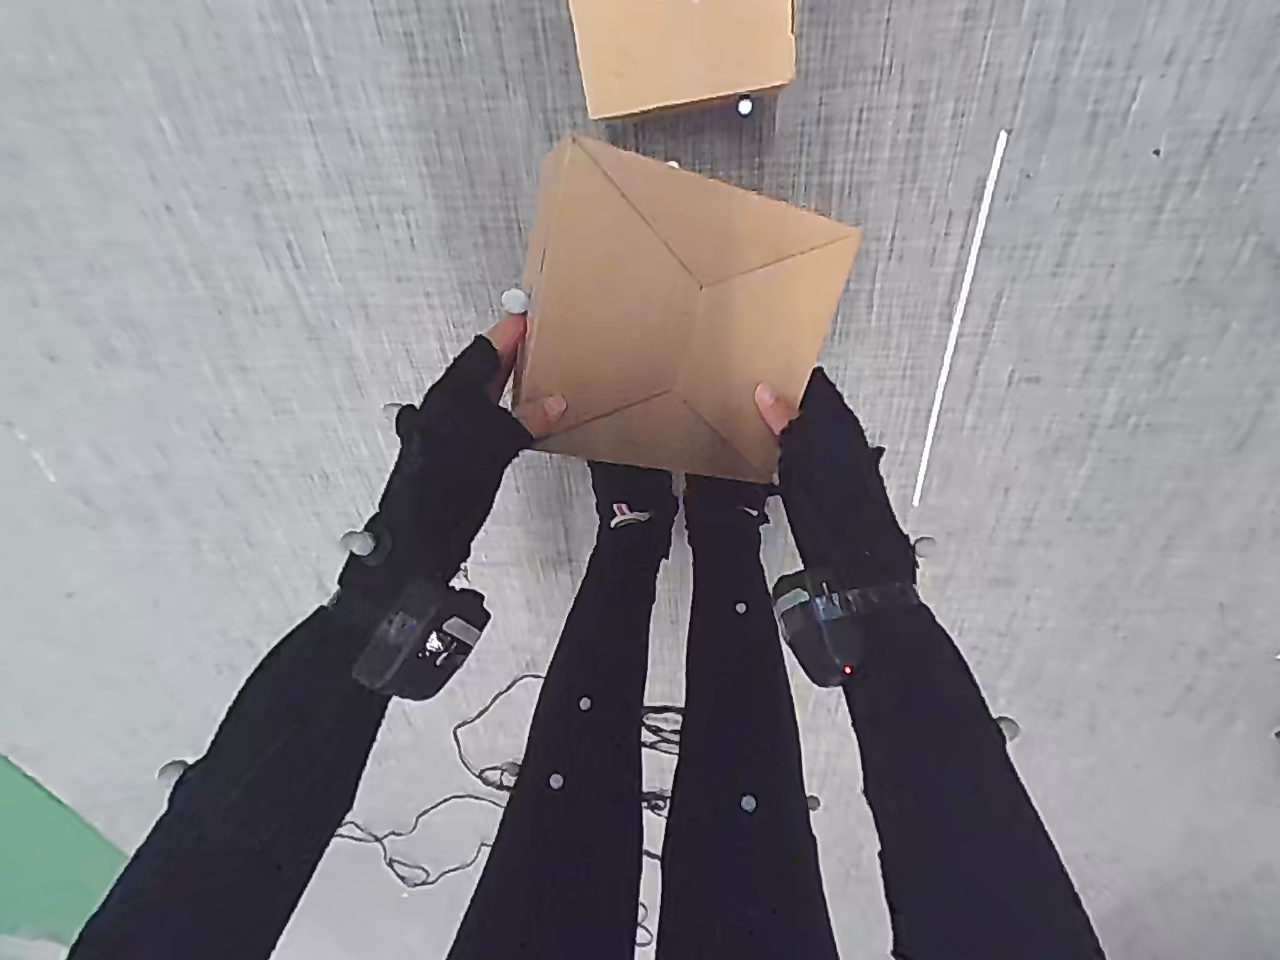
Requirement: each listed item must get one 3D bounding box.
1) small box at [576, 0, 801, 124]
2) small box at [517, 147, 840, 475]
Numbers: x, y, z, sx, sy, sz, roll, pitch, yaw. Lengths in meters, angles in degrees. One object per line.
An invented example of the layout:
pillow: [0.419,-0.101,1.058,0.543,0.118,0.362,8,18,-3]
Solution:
small box: [0.044,-0.427,0.479,0.179,0.176,0.168,-4,122,10]
small box: [0.013,-0.115,0.381,0.179,0.176,0.168,7,115,-19]
